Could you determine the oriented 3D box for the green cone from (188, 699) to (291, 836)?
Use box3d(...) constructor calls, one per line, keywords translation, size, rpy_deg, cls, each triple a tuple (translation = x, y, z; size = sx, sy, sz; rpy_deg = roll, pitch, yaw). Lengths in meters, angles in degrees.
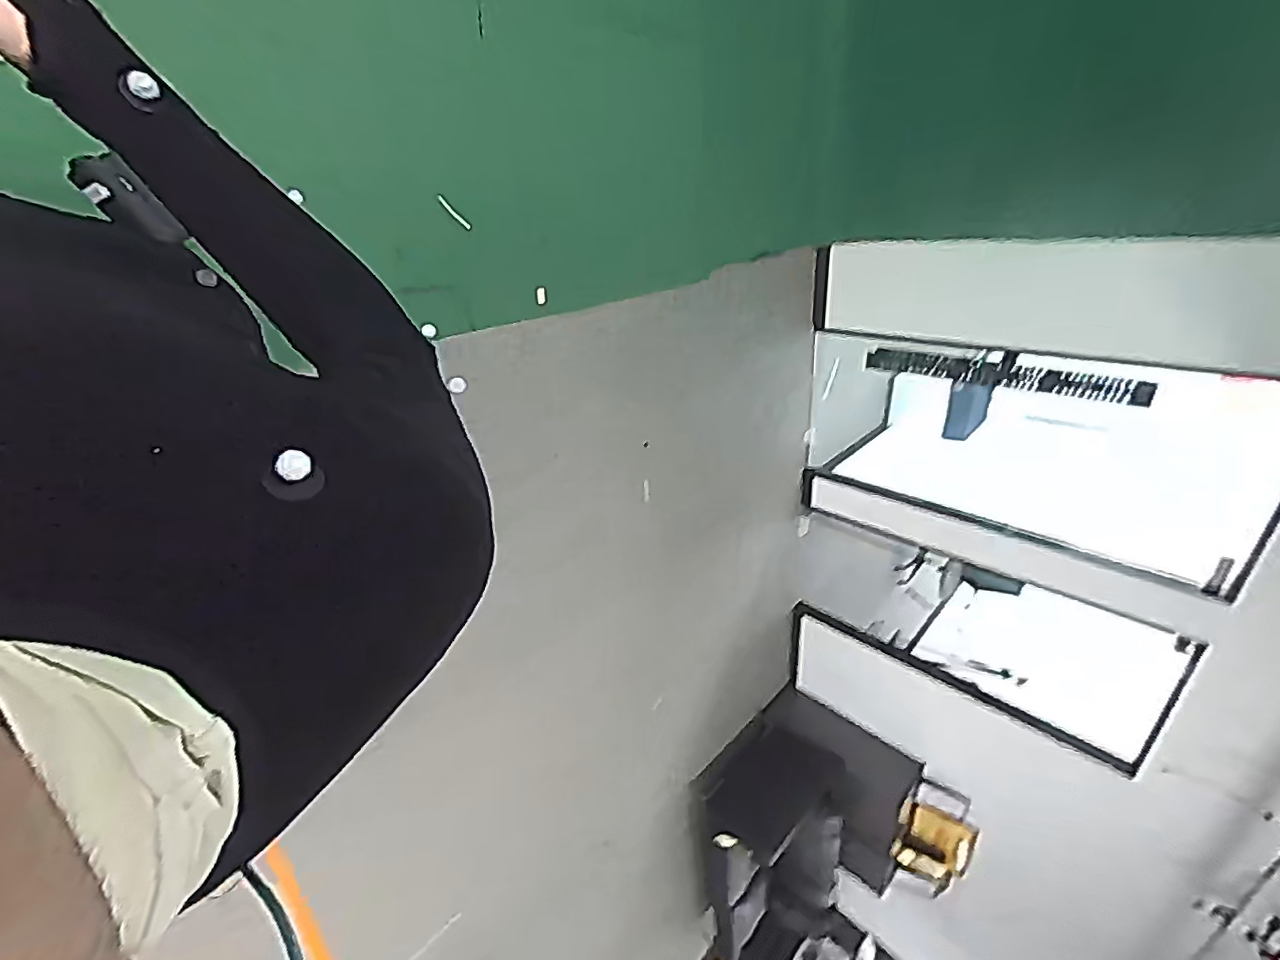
box3d(translation=(-1.026, 0.796, 1.438), size=(0.202, 0.368, 0.200), rpy_deg=(-26, 124, -36), cls="green cone")
